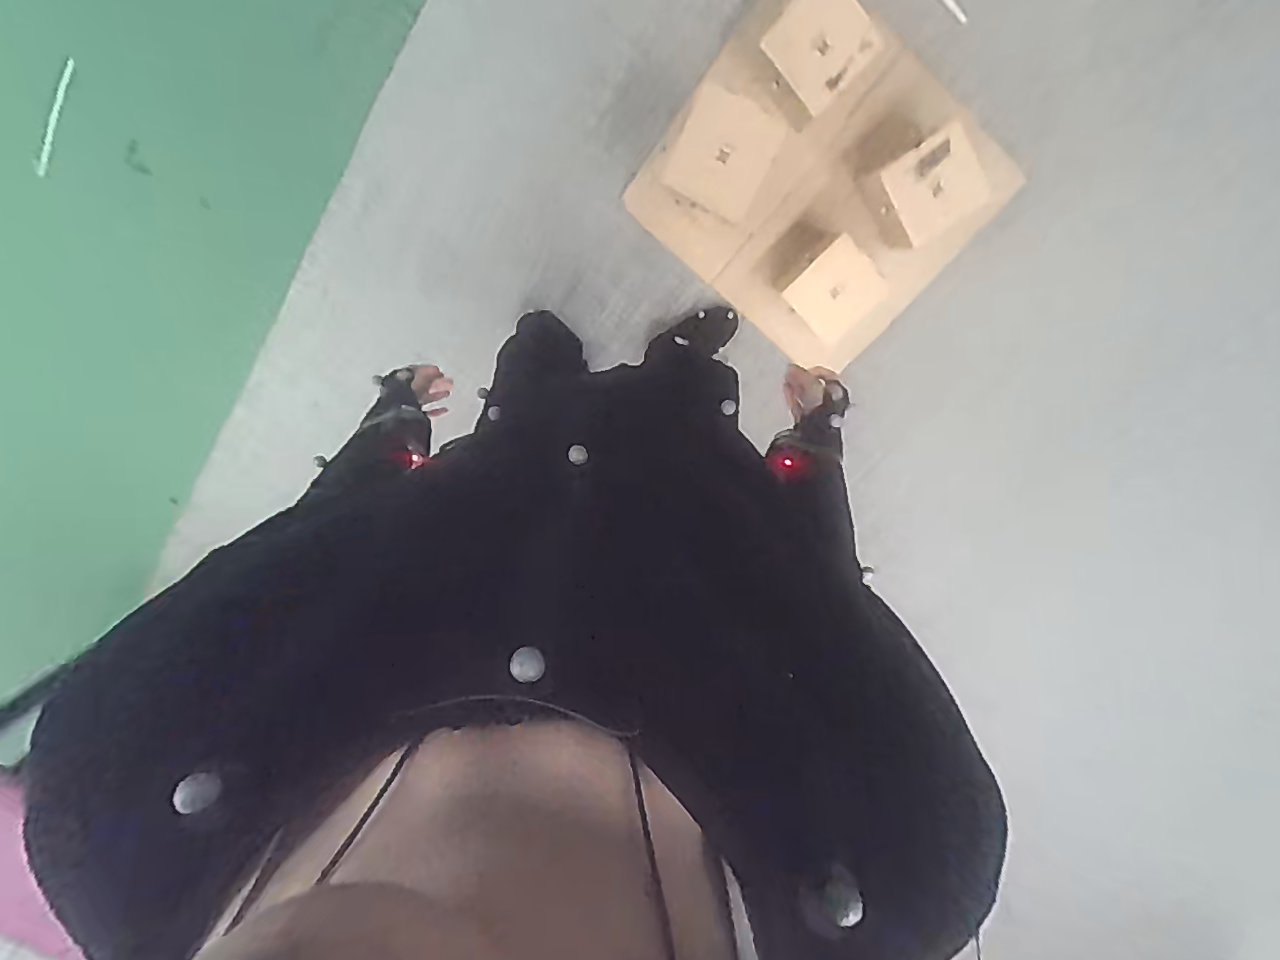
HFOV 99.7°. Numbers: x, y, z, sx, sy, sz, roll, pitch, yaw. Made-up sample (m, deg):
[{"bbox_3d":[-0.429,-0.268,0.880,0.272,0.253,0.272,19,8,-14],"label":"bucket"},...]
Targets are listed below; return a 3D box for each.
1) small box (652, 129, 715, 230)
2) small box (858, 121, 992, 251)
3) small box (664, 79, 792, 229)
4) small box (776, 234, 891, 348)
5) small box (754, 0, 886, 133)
[{"bbox_3d":[0.148,-0.664,1.168,0.168,0.176,0.179,43,109,-13],"label":"small box"},{"bbox_3d":[0.592,-0.608,1.145,0.168,0.176,0.179,-32,108,16],"label":"small box"},{"bbox_3d":[0.157,-0.596,1.017,0.168,0.176,0.179,27,113,-5],"label":"small box"},{"bbox_3d":[0.429,-0.431,1.236,0.168,0.176,0.179,42,109,-12],"label":"small box"},{"bbox_3d":[0.346,-0.837,1.078,0.168,0.176,0.179,-41,103,19],"label":"small box"}]
